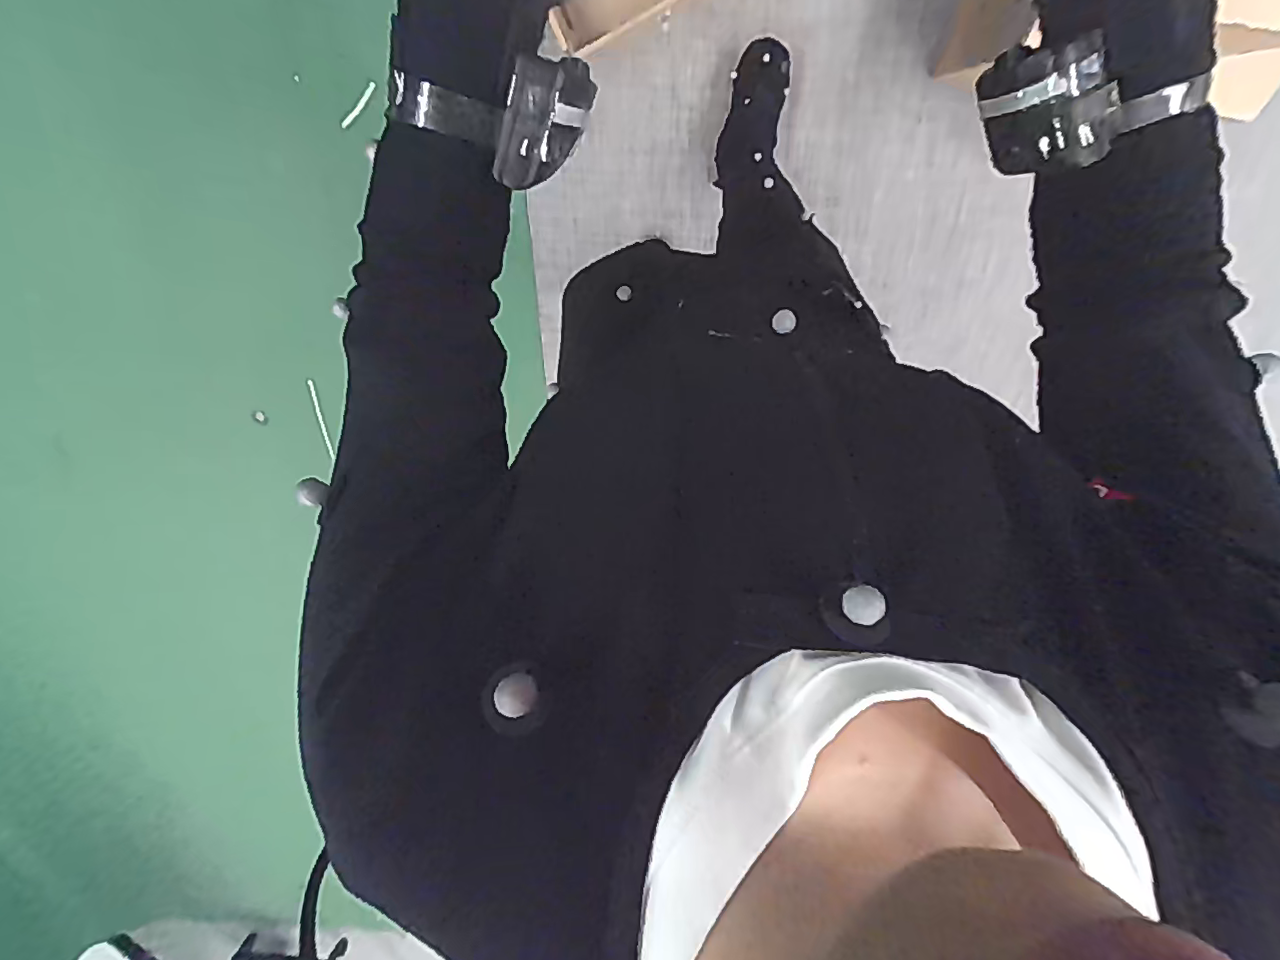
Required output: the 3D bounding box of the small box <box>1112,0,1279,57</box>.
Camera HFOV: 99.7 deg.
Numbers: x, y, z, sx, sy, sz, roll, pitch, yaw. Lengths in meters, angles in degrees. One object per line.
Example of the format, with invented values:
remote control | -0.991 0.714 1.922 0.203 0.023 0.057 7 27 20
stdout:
small box | 0.775 -0.661 0.690 0.179 0.176 0.168 8 122 -1
